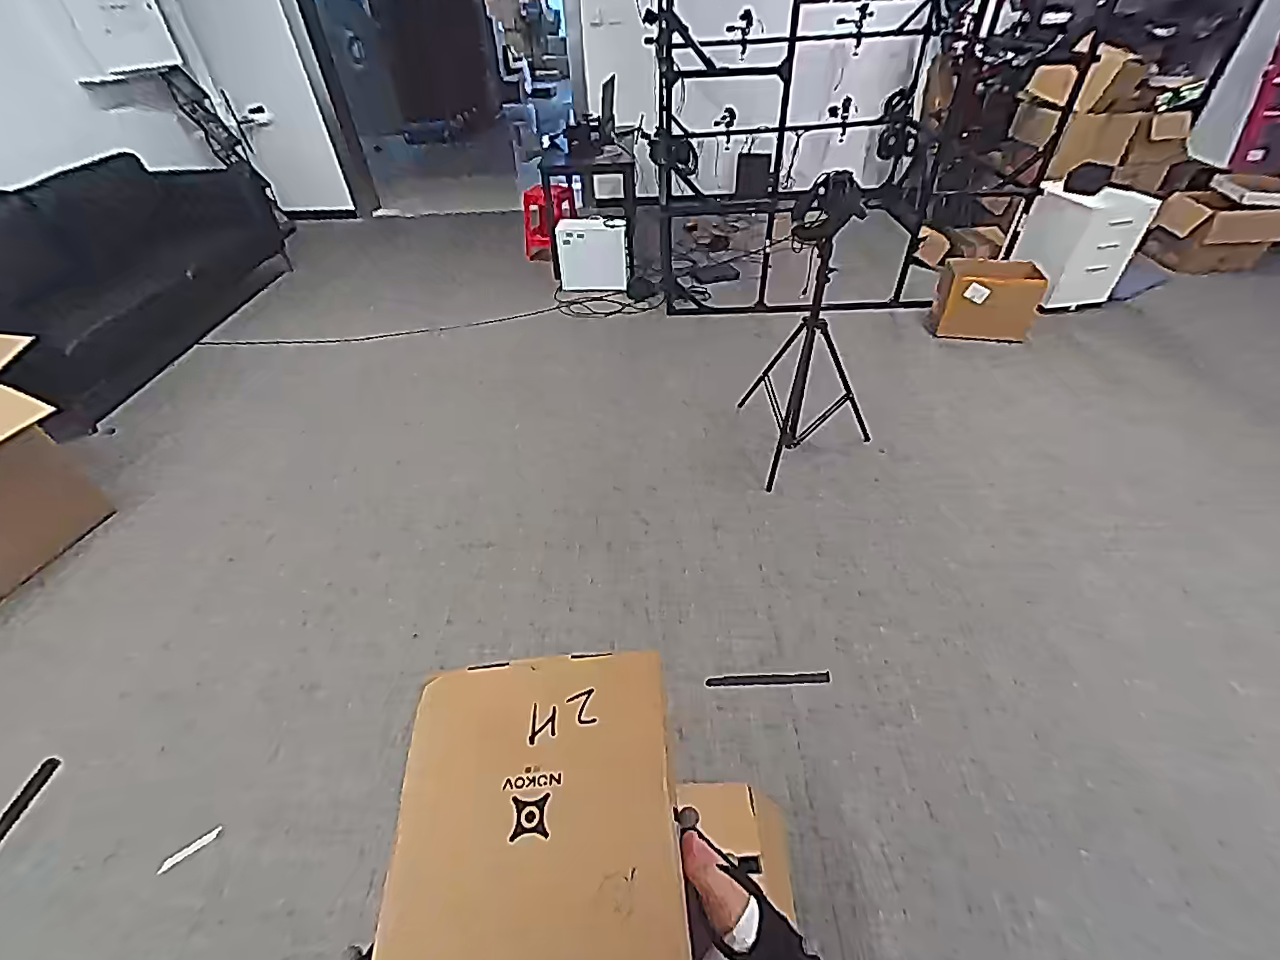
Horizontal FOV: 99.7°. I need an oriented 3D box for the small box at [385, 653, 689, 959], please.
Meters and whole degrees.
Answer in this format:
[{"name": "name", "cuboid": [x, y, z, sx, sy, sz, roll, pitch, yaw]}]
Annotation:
[{"name": "small box", "cuboid": [-0.054, 0.248, 0.395, 0.168, 0.176, 0.179, -5, 50, 1]}]
